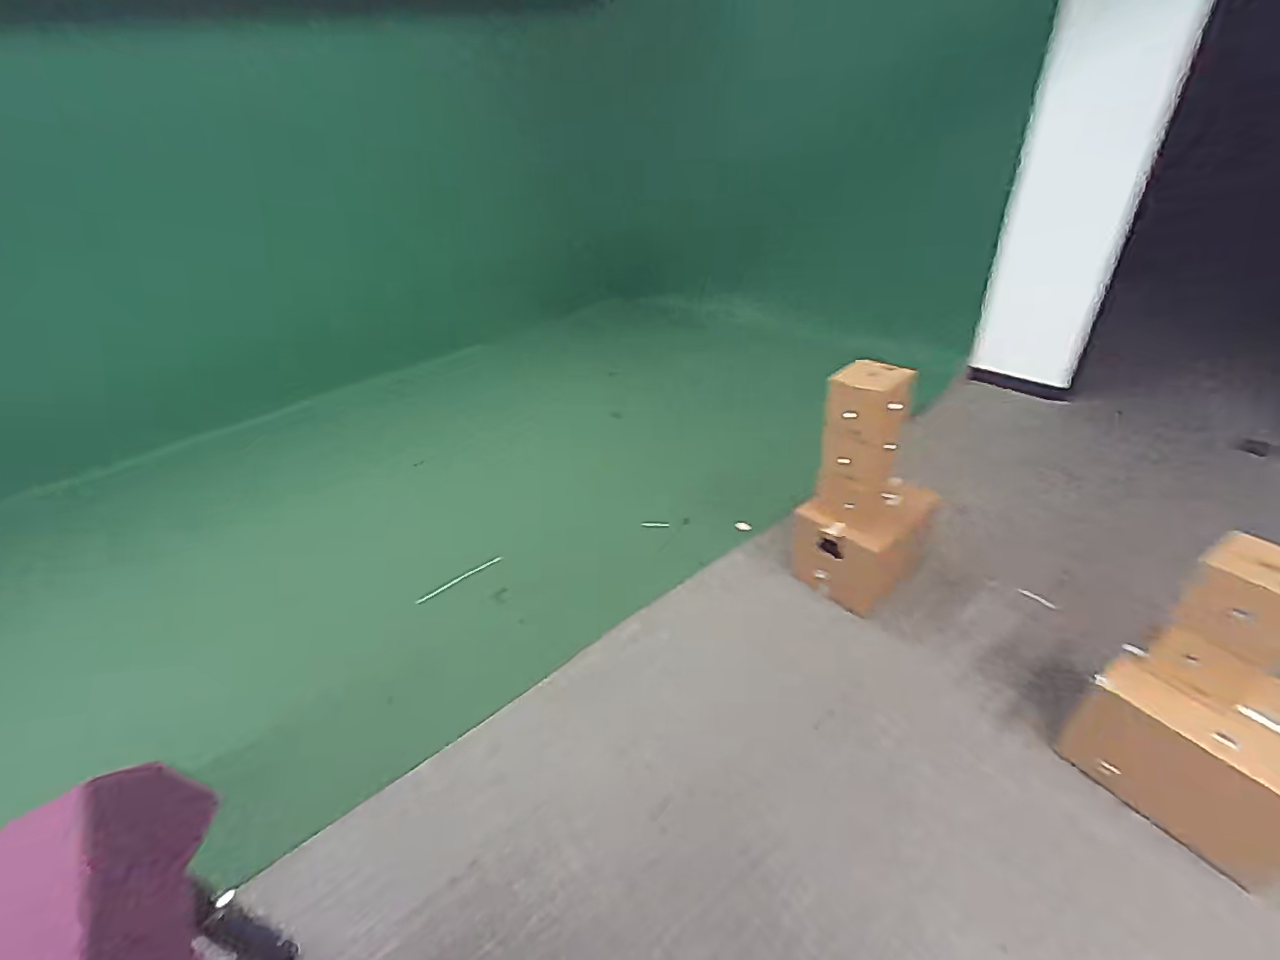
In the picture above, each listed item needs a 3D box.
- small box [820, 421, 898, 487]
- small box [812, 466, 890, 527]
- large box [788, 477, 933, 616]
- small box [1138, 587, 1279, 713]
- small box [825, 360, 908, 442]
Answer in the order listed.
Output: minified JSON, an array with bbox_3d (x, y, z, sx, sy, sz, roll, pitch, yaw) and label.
[{"bbox_3d":[0.683,-0.102,1.702,0.179,0.176,0.168,-32,43,-33],"label":"small box"},{"bbox_3d":[0.694,0.034,1.793,0.168,0.176,0.179,-30,40,-29],"label":"small box"},{"bbox_3d":[0.784,0.208,1.955,0.408,0.320,0.320,-29,41,-29],"label":"large box"},{"bbox_3d":[1.269,0.379,1.205,0.179,0.176,0.168,-23,38,-24],"label":"small box"},{"bbox_3d":[0.666,-0.235,1.606,0.179,0.176,0.168,-32,42,-30],"label":"small box"}]
